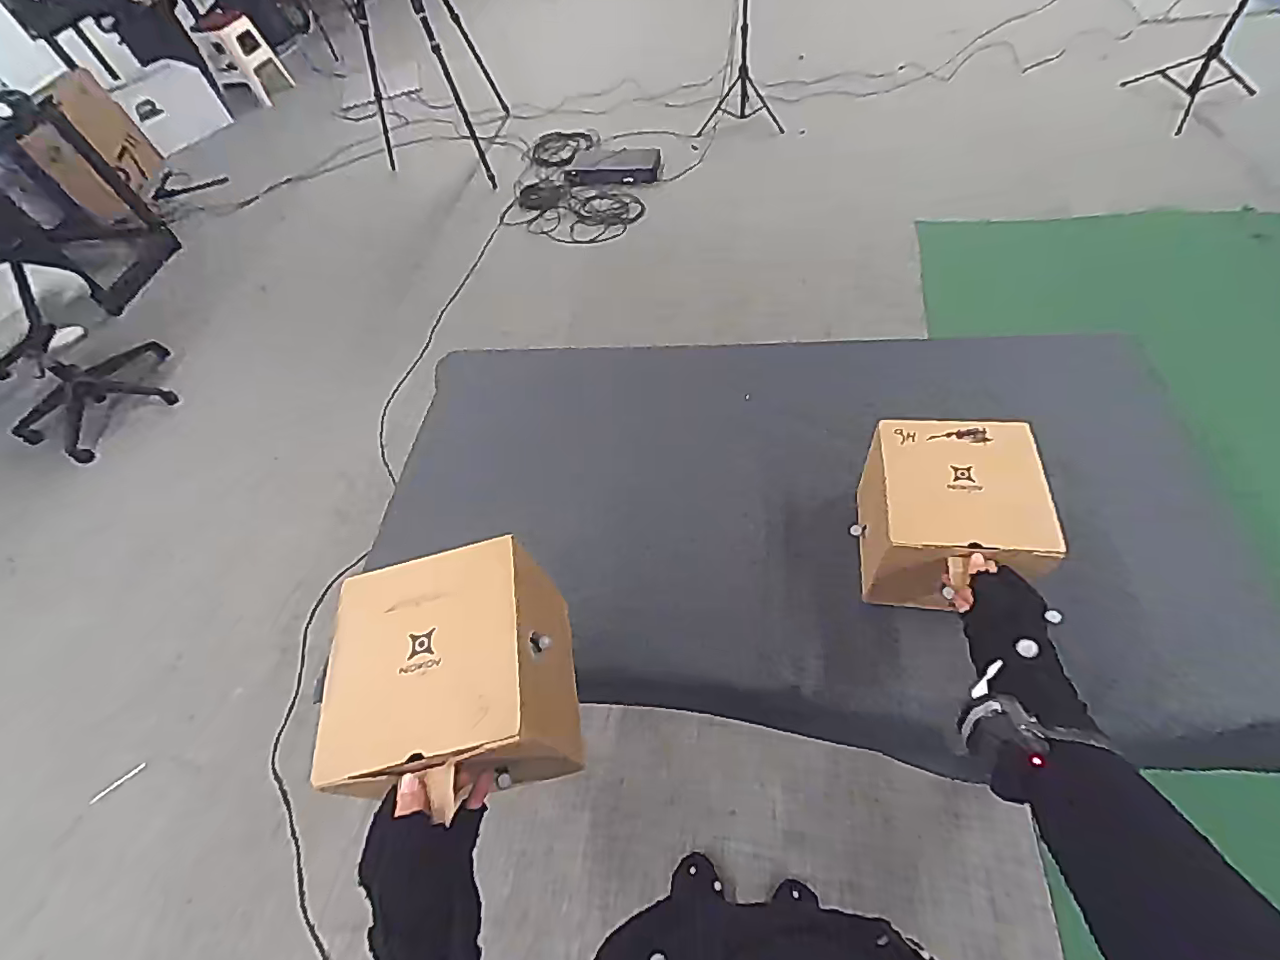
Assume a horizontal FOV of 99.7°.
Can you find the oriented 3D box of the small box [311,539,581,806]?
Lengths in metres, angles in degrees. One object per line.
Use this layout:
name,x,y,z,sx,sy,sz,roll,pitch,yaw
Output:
small box,-0.160,0.186,0.500,0.168,0.176,0.179,-15,52,2
